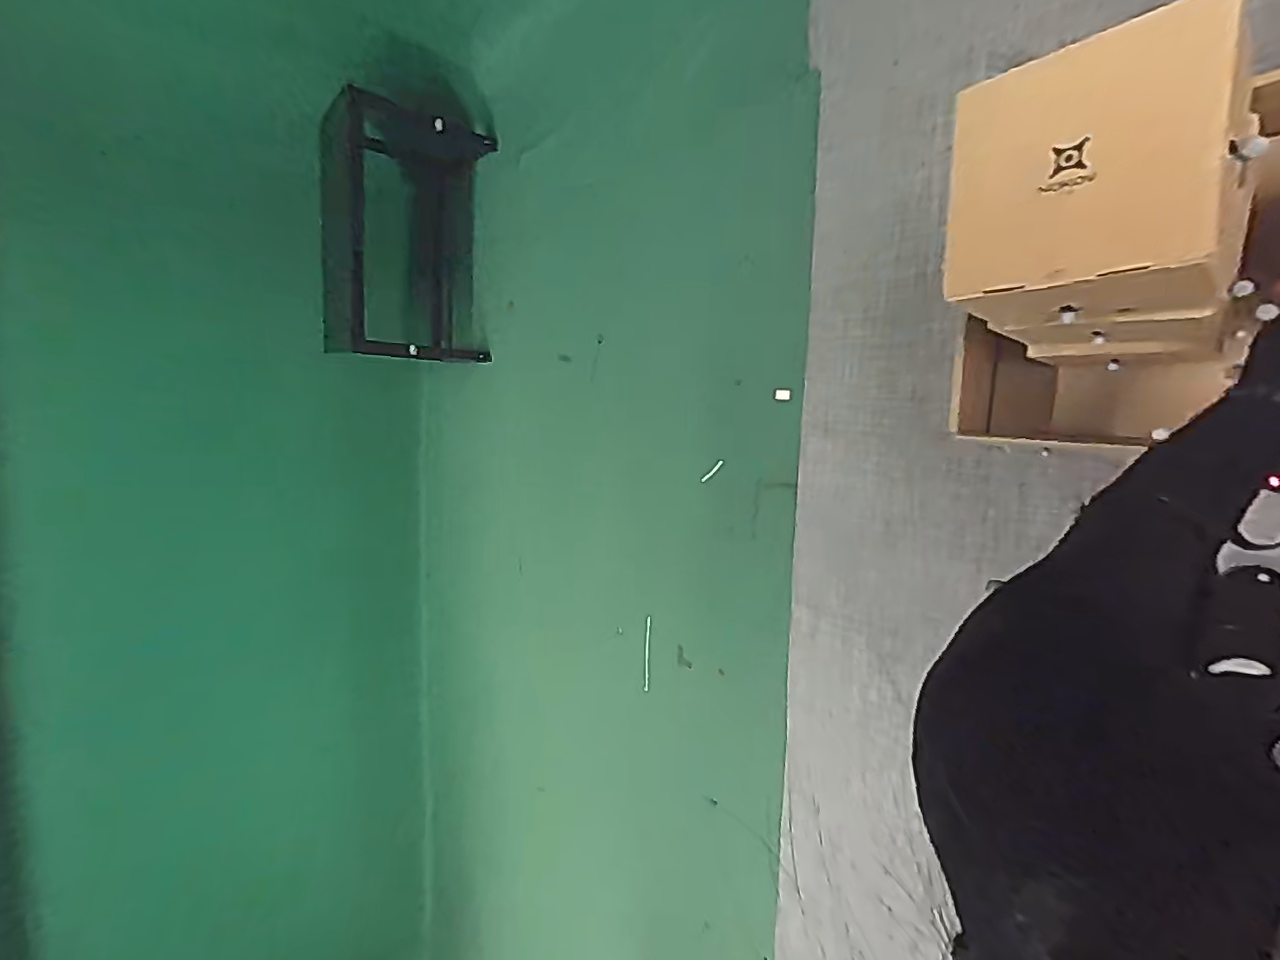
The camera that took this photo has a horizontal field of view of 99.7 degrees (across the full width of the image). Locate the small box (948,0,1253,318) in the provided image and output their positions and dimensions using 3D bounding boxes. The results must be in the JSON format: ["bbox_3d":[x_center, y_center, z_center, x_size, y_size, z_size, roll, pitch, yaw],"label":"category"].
[{"bbox_3d":[0.386,-0.248,0.458,0.168,0.176,0.179,7,98,49],"label":"small box"}]
